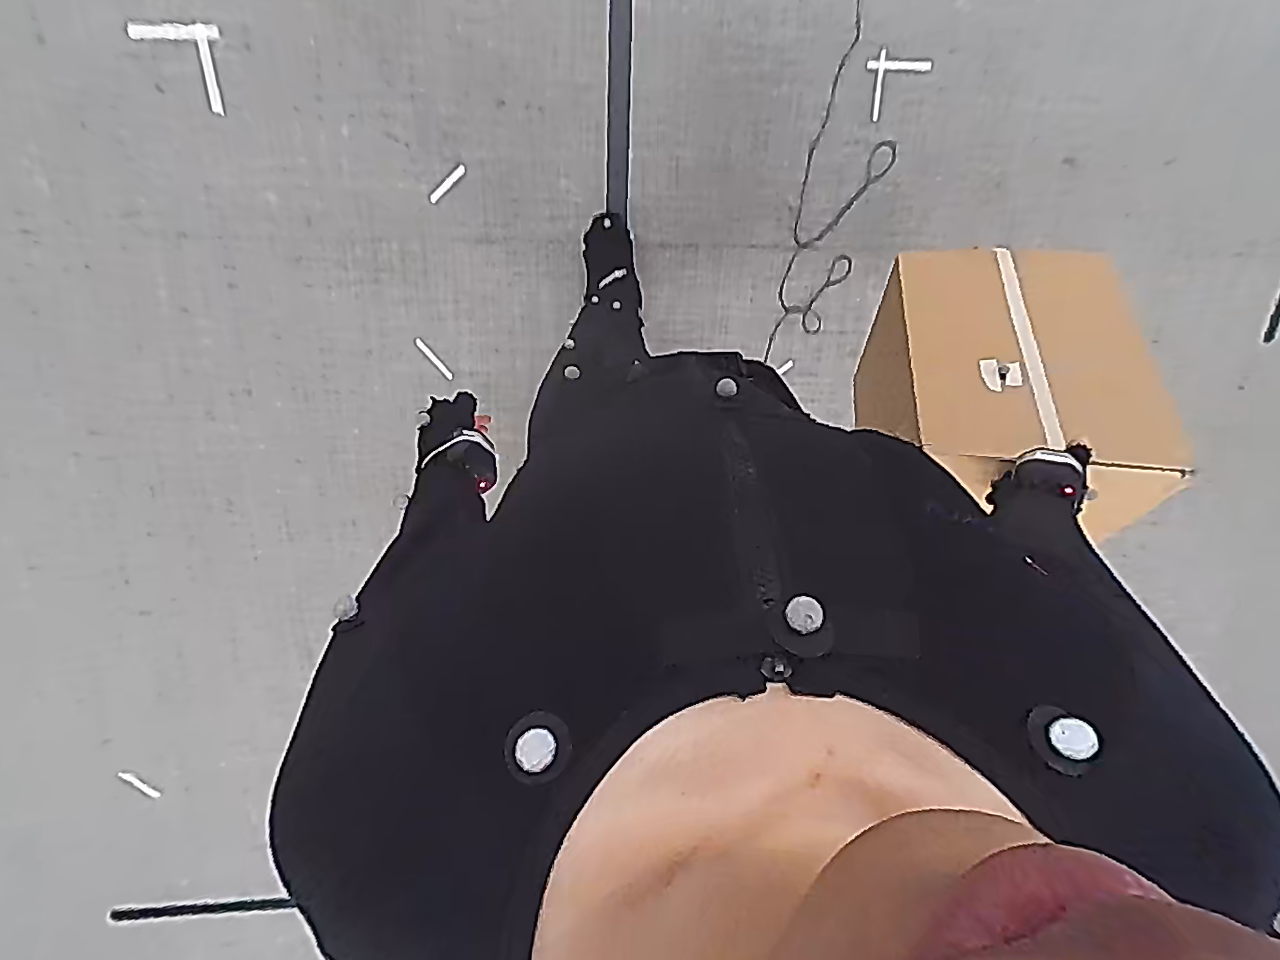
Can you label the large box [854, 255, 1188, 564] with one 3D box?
[{"bbox_3d":[0.564,-0.114,0.908,0.320,0.408,0.320,5,151,9],"label":"large box"}]
